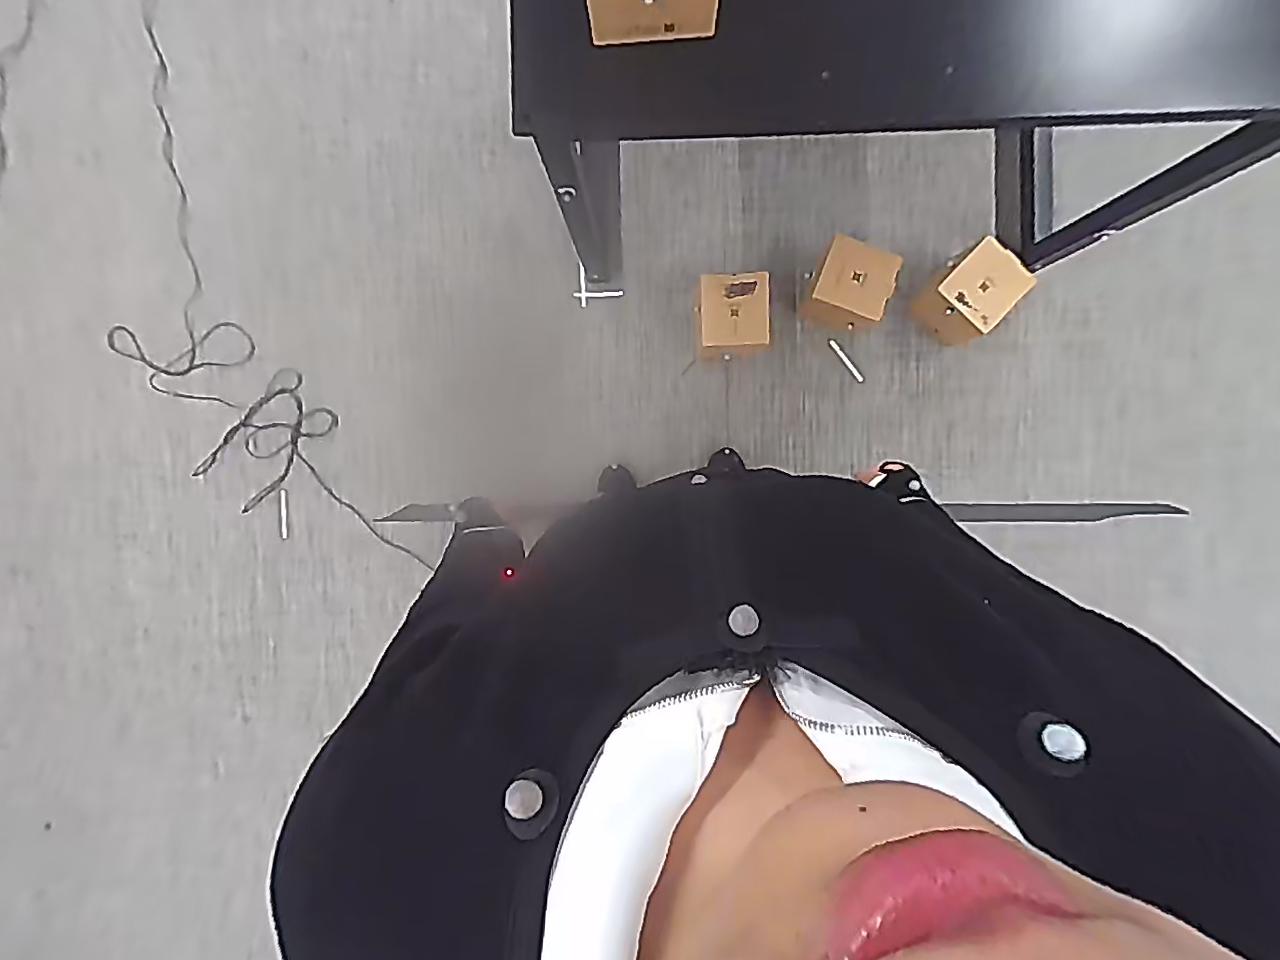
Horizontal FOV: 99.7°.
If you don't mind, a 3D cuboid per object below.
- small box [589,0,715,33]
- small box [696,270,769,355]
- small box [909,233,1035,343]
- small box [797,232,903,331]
[{"bbox_3d":[0.011,-0.687,0.655,0.168,0.176,0.179,-3,92,1],"label":"small box"},{"bbox_3d":[0.233,-0.426,1.393,0.168,0.176,0.179,-2,94,2],"label":"small box"},{"bbox_3d":[0.829,-0.477,1.370,0.168,0.176,0.179,43,94,0],"label":"small box"},{"bbox_3d":[0.526,-0.496,1.381,0.179,0.176,0.168,20,93,2],"label":"small box"}]
